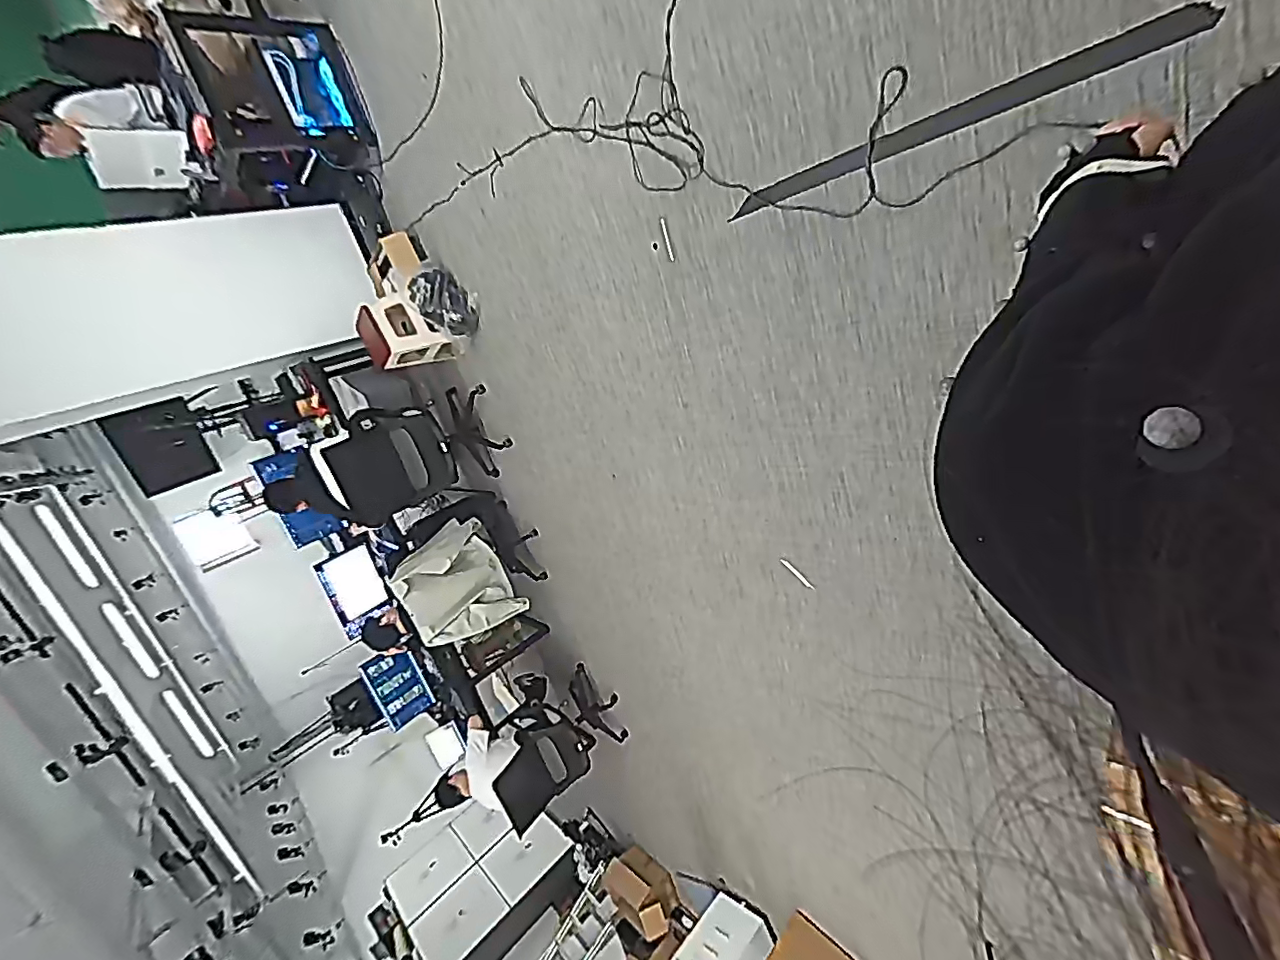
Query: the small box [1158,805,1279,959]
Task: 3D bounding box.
[{"bbox_3d":[1.170,0.803,1.085,0.179,0.176,0.168,3,115,50],"label":"small box"}]
